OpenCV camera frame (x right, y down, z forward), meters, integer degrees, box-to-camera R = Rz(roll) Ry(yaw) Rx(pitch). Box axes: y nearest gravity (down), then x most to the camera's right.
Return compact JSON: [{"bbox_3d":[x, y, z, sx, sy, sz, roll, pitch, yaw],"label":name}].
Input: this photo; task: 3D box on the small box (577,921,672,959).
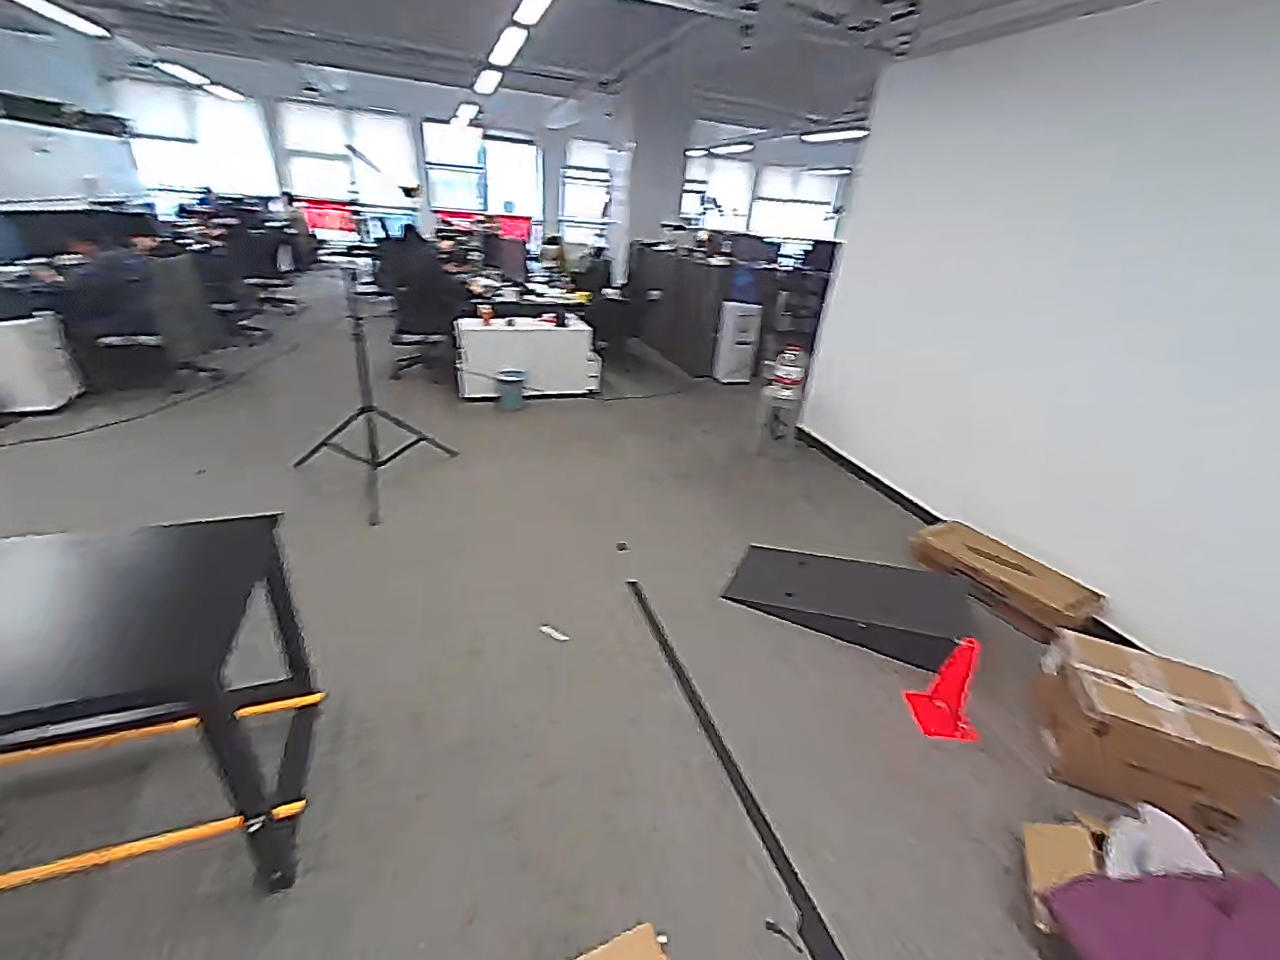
[{"bbox_3d":[-0.019,0.977,0.993,0.179,0.176,0.168,-10,29,-24],"label":"small box"}]
